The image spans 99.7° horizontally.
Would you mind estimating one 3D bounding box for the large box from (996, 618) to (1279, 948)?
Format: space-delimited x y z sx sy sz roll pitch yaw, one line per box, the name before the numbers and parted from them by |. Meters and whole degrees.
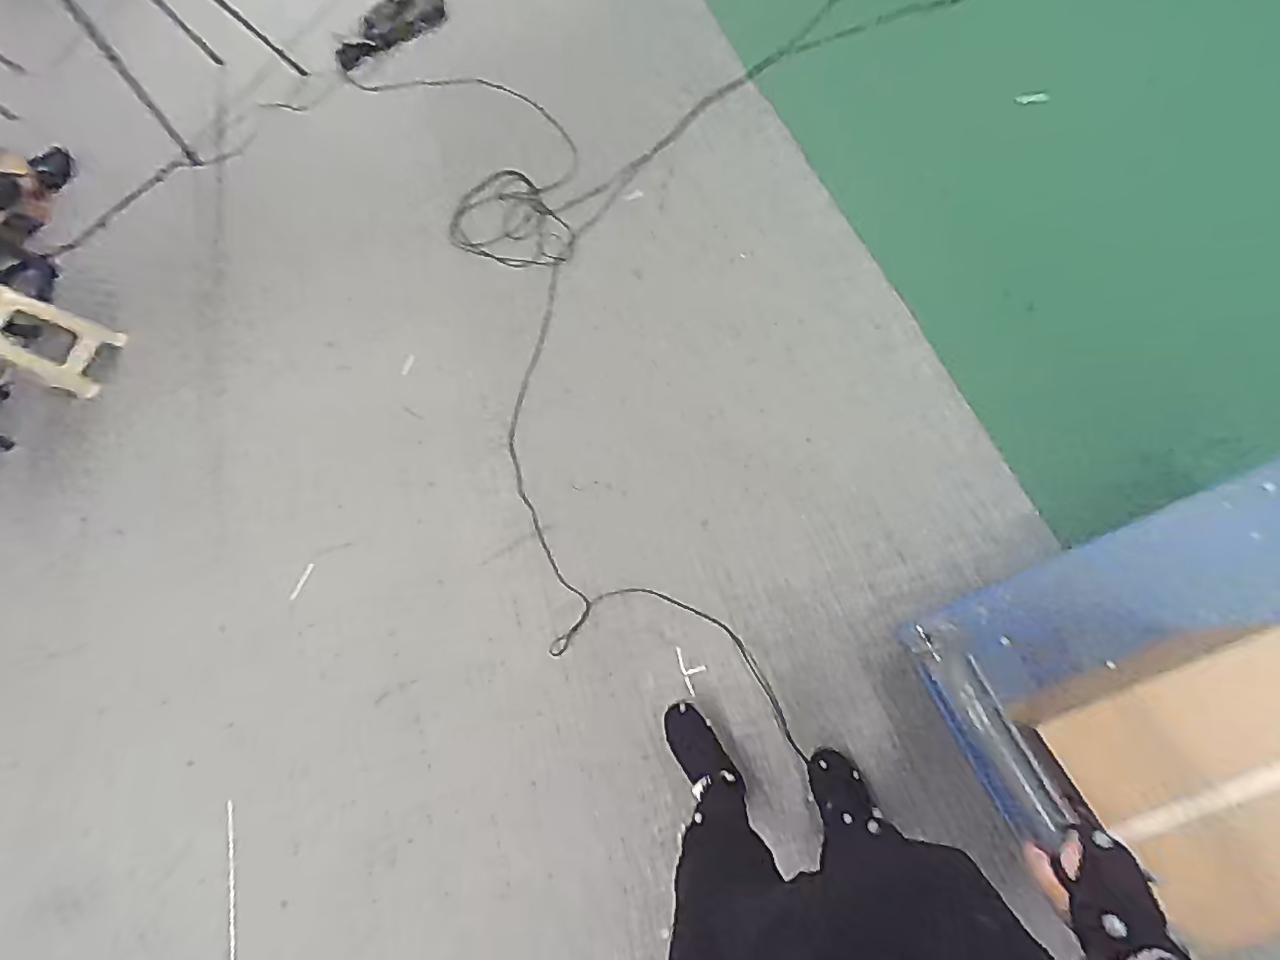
large box | 0.917 0.471 0.908 0.408 0.320 0.320 -30 65 10
